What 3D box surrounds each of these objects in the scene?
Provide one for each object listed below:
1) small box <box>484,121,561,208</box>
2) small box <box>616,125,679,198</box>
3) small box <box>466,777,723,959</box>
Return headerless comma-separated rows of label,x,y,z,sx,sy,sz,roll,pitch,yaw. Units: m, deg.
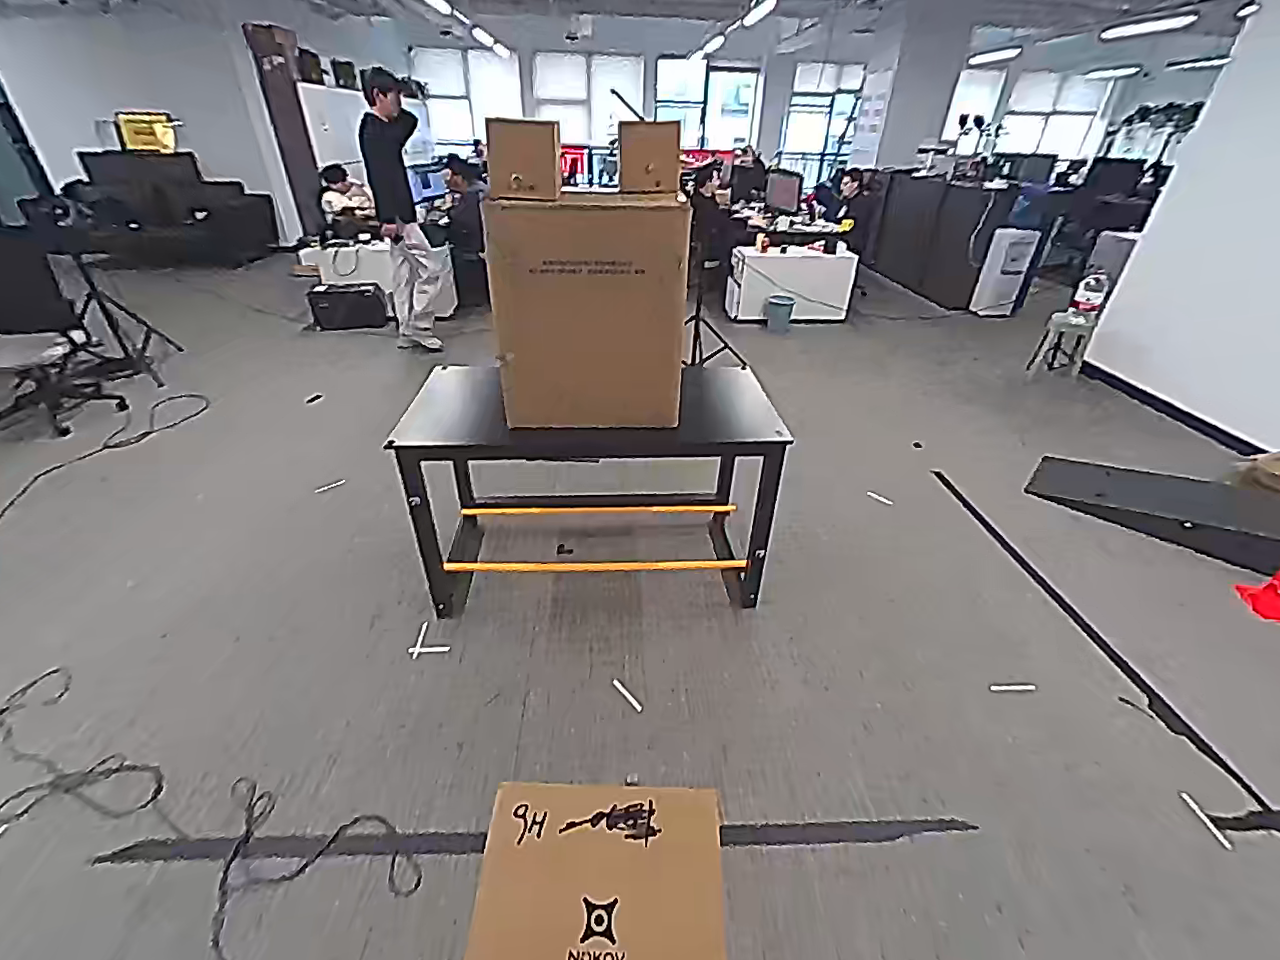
small box,-0.288,-0.794,1.359,0.168,0.176,0.179,0,34,-5
small box,0.017,-0.901,1.533,0.168,0.176,0.179,-2,31,-3
small box,-0.025,0.343,0.410,0.168,0.176,0.179,1,49,2
